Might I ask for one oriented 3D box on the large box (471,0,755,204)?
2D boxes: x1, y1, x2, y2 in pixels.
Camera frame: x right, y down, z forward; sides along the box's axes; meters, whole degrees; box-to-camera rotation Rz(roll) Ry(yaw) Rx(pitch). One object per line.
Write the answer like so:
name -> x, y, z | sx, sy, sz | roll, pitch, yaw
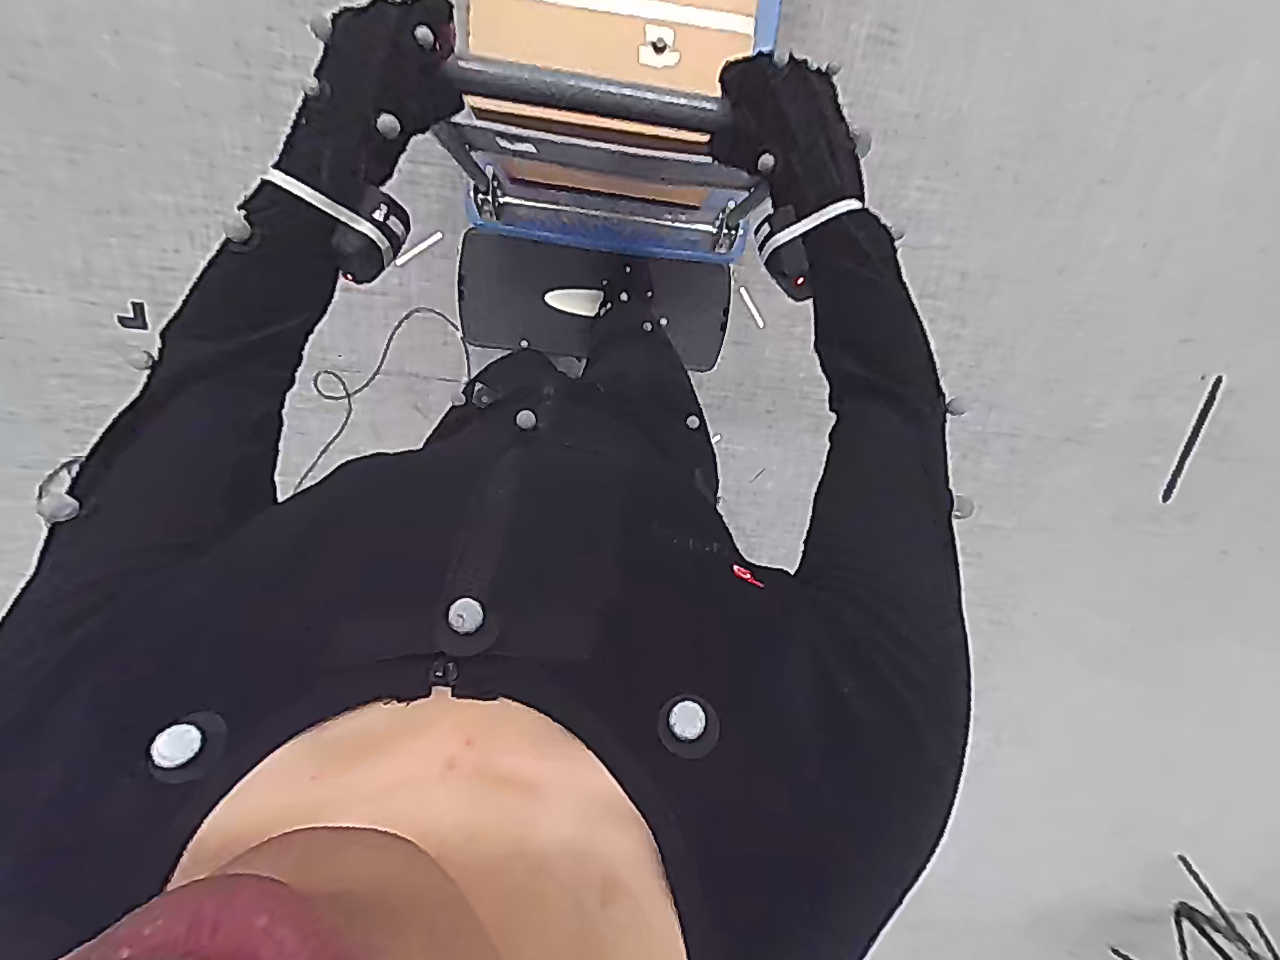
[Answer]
large box -> -0.048, -0.693, 0.912 | 0.408, 0.320, 0.320 | 5, 102, -6
